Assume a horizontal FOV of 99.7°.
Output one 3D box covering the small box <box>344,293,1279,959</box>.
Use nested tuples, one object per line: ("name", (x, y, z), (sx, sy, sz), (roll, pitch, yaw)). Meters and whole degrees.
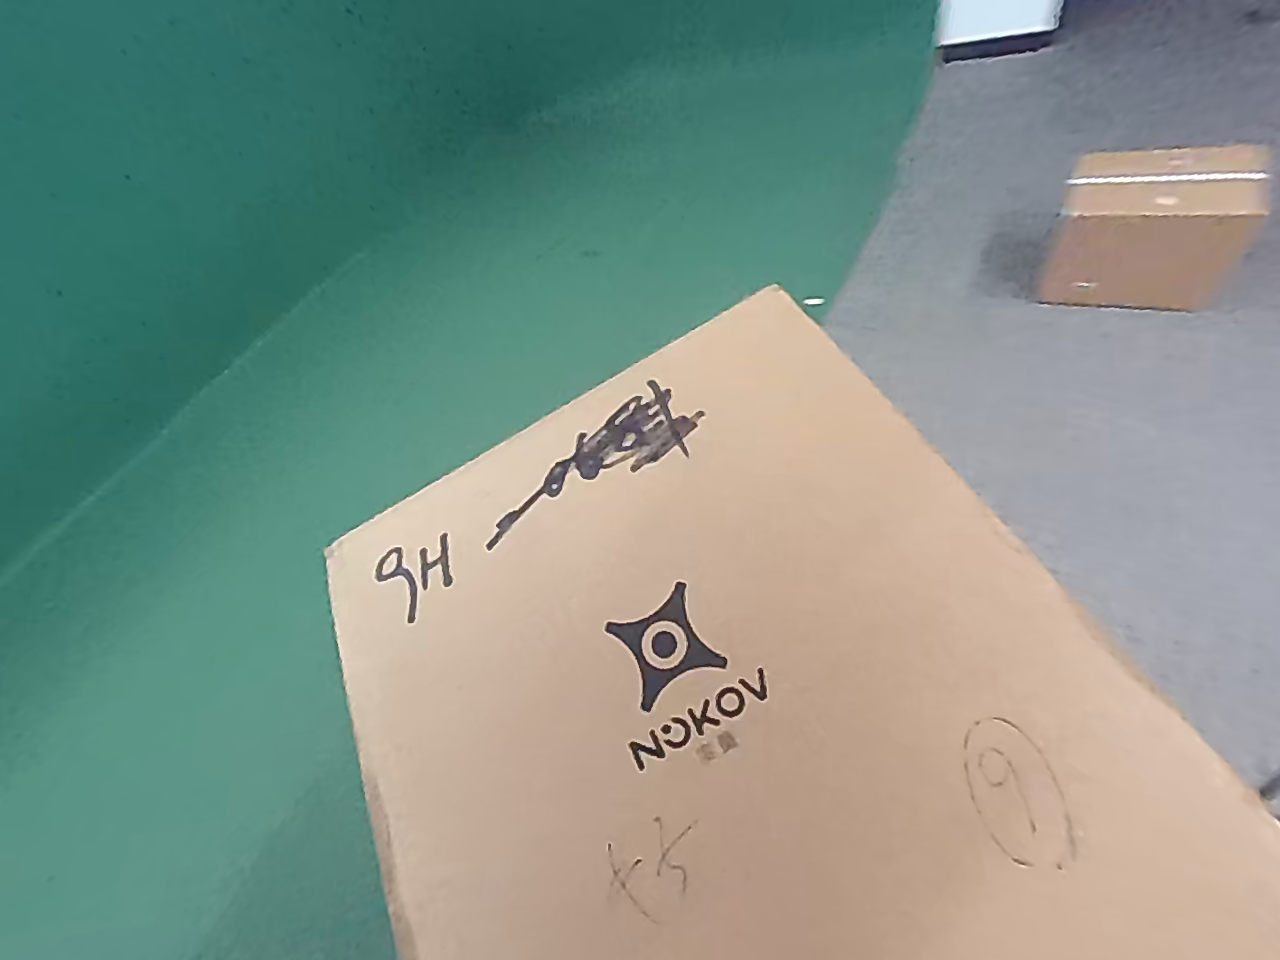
("small box", (0.030, 0.077, 0.206), (0.168, 0.176, 0.179), (-29, 63, 3))
